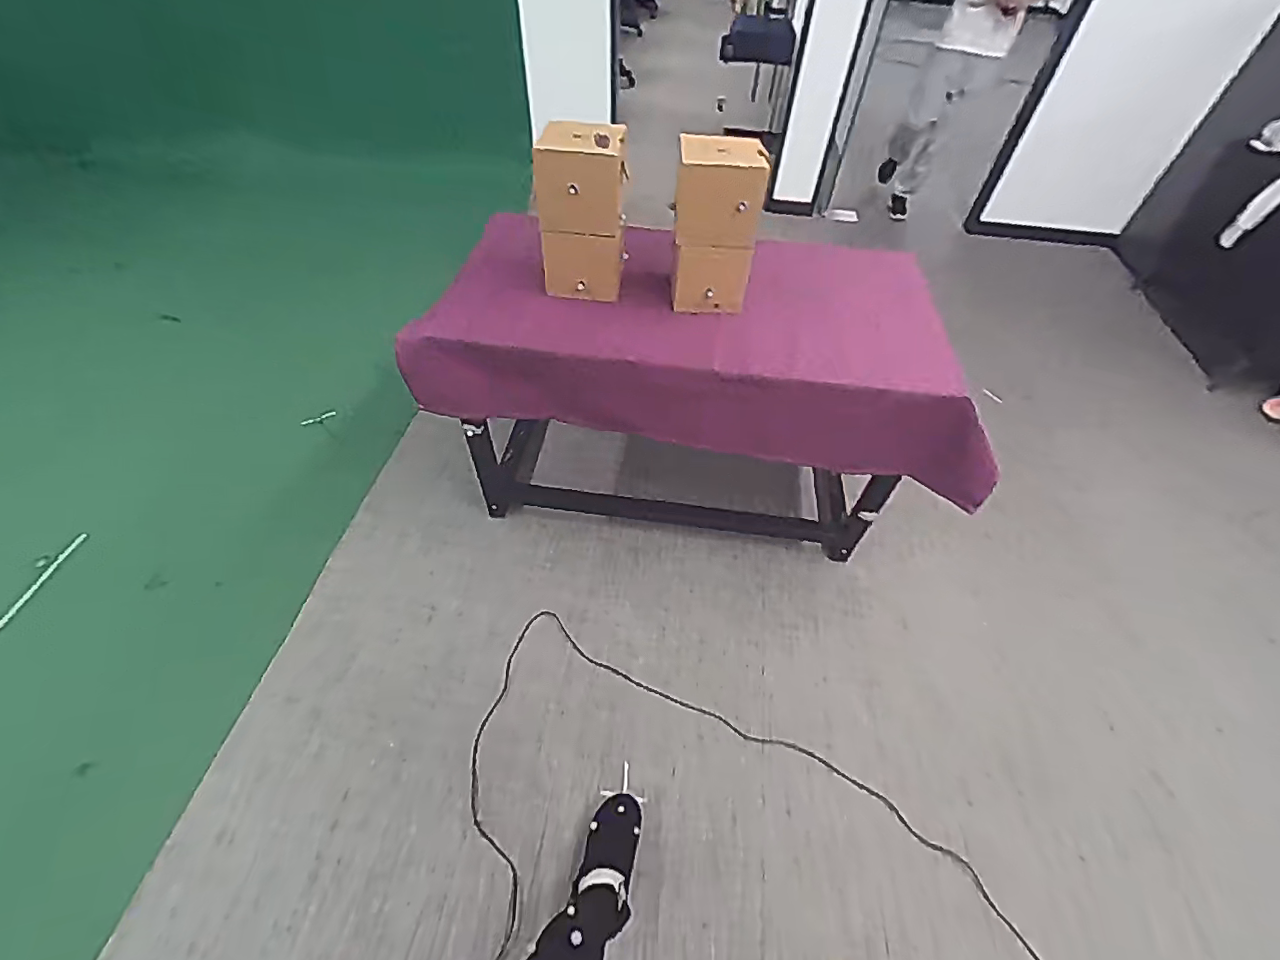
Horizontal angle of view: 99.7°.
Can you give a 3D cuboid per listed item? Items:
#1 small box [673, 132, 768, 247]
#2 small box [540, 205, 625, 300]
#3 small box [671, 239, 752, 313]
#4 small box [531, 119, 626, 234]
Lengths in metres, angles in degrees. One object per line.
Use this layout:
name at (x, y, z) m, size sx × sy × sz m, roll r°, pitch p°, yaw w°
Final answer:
small box at (0.167, -0.627, 1.176) m, size 0.179 × 0.176 × 0.168 m, roll 3°, pitch 51°, yaw 0°
small box at (-0.134, -0.559, 1.313) m, size 0.179 × 0.176 × 0.168 m, roll 6°, pitch 51°, yaw 1°
small box at (0.163, -0.528, 1.305) m, size 0.168 × 0.176 × 0.179 m, roll 1°, pitch 52°, yaw -1°
small box at (-0.127, -0.661, 1.185) m, size 0.179 × 0.176 × 0.168 m, roll 5°, pitch 52°, yaw 2°
